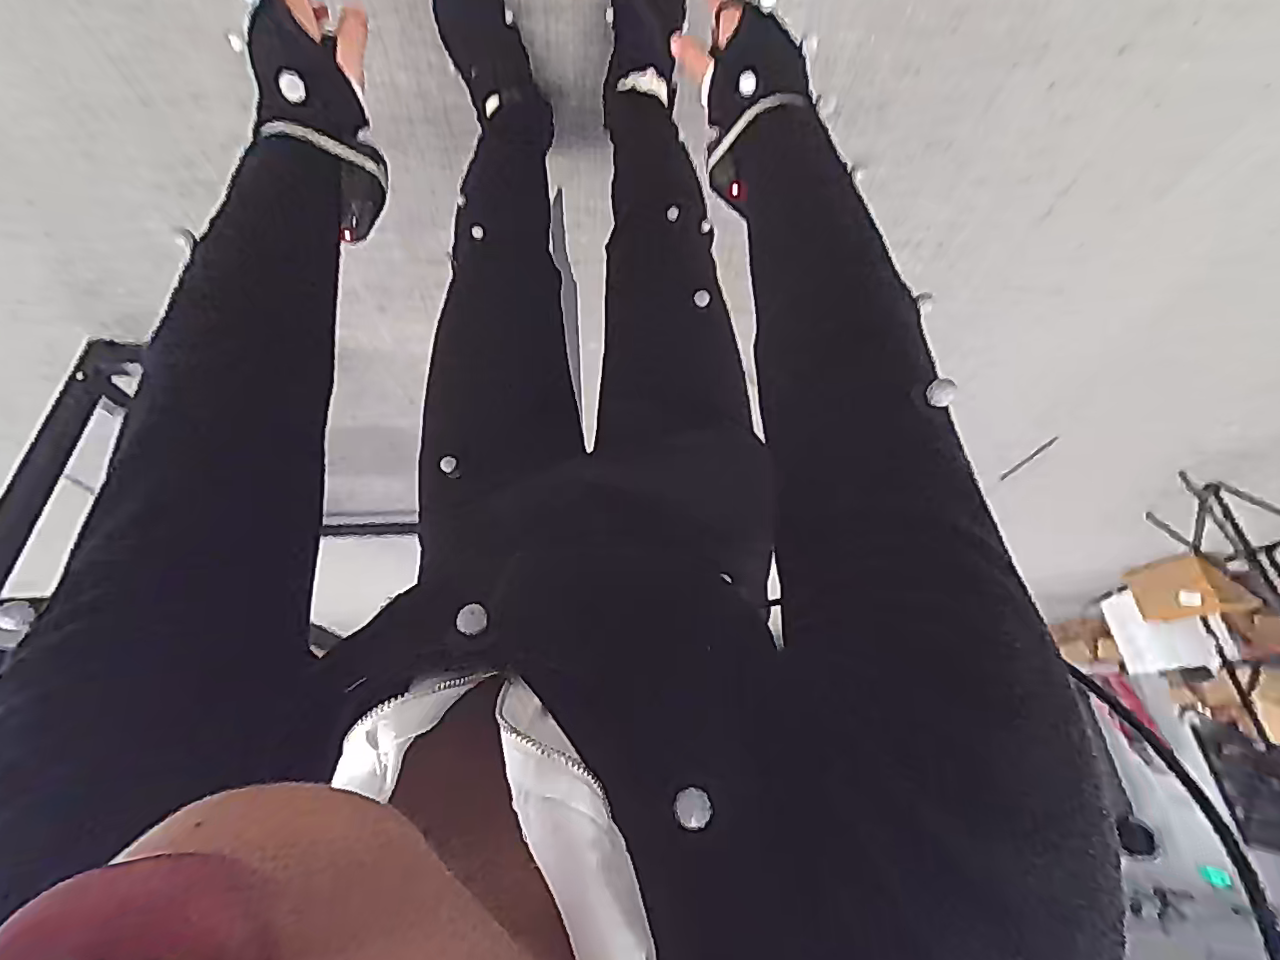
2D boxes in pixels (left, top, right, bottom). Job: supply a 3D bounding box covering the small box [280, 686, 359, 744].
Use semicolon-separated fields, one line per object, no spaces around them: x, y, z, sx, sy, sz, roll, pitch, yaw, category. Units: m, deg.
-1.112;0.820;1.891;0.168;0.176;0.179;-1;152;-3;small box
